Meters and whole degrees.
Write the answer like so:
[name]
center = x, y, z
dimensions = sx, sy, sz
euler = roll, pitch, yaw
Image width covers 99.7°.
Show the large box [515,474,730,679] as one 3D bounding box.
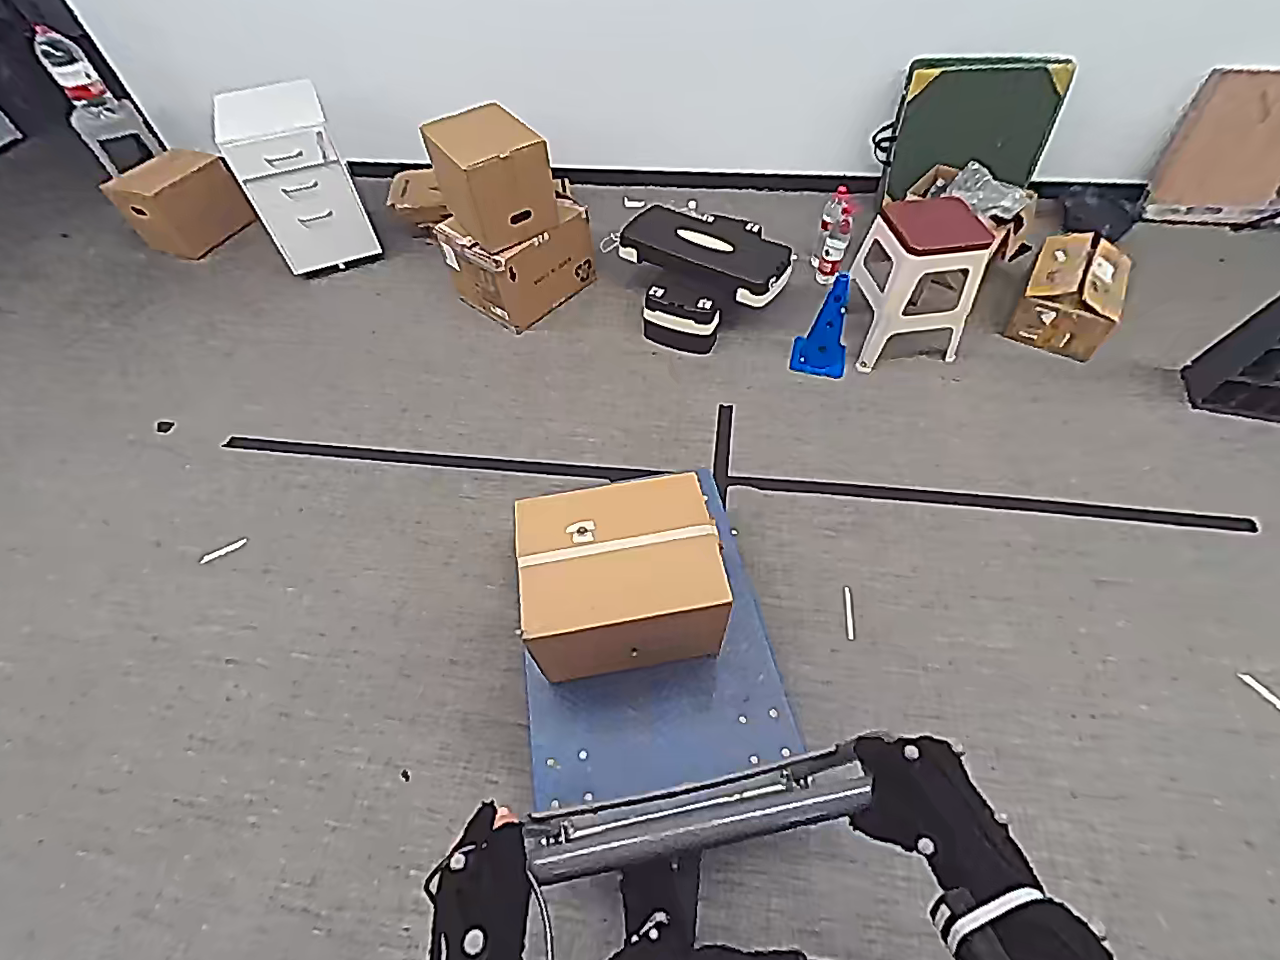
[large box]
center = -0.042, 0.226, 1.224
dimensions = 0.408, 0.320, 0.320
euler = -10, 55, -4
